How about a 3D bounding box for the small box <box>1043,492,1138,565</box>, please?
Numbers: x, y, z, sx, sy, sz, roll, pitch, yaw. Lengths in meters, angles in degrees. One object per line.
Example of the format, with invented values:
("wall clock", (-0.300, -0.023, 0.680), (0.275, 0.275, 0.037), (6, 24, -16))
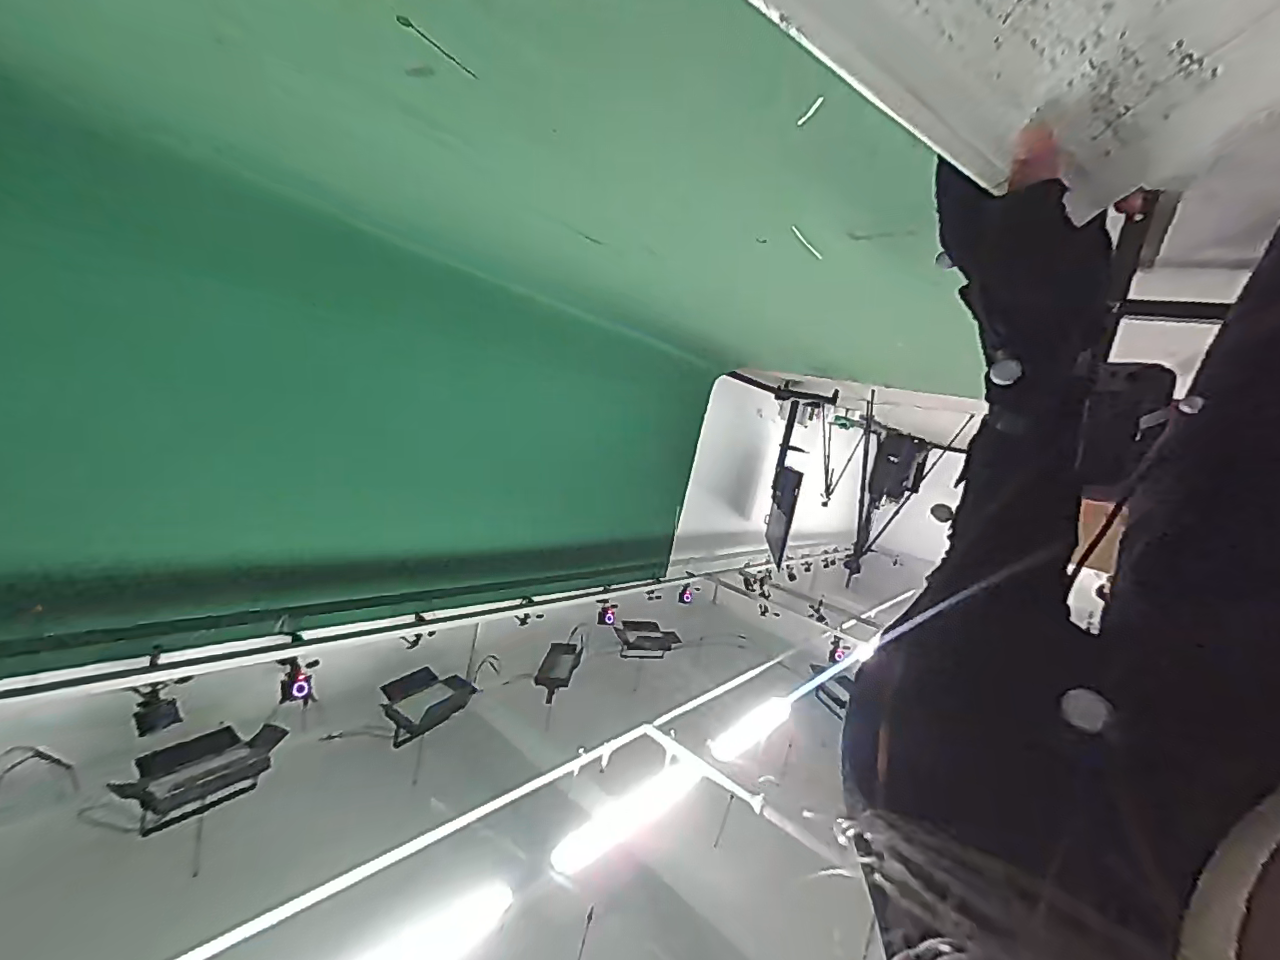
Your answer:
("small box", (1.309, 0.132, 1.577), (0.168, 0.176, 0.179), (16, -172, 30))
